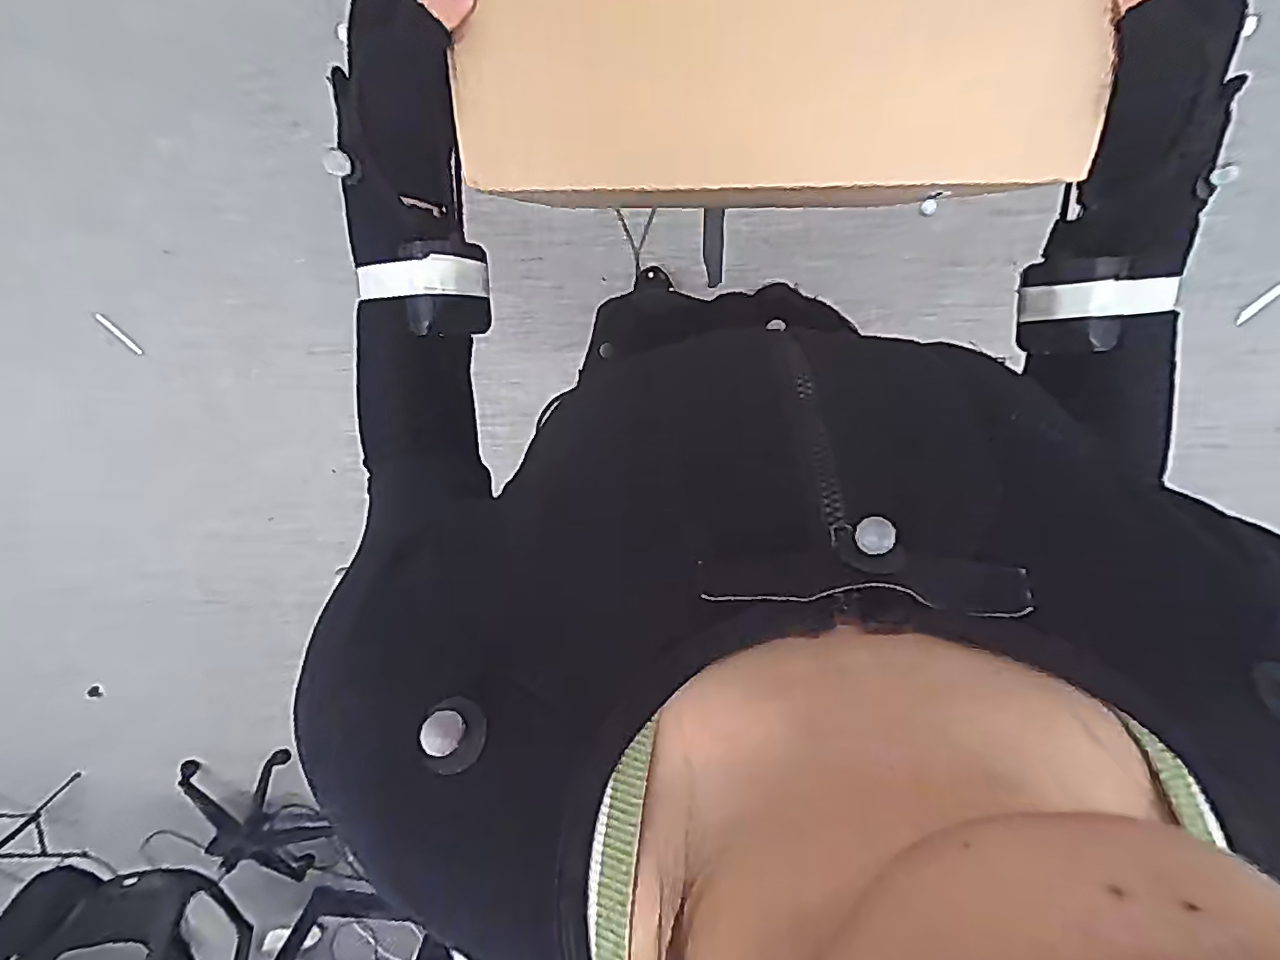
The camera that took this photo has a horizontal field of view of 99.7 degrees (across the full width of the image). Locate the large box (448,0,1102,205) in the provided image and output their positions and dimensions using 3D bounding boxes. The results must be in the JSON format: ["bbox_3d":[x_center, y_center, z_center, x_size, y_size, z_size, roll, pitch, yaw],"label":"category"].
[{"bbox_3d":[0.085,-0.404,0.440,0.408,0.320,0.320,0,114,2],"label":"large box"}]
